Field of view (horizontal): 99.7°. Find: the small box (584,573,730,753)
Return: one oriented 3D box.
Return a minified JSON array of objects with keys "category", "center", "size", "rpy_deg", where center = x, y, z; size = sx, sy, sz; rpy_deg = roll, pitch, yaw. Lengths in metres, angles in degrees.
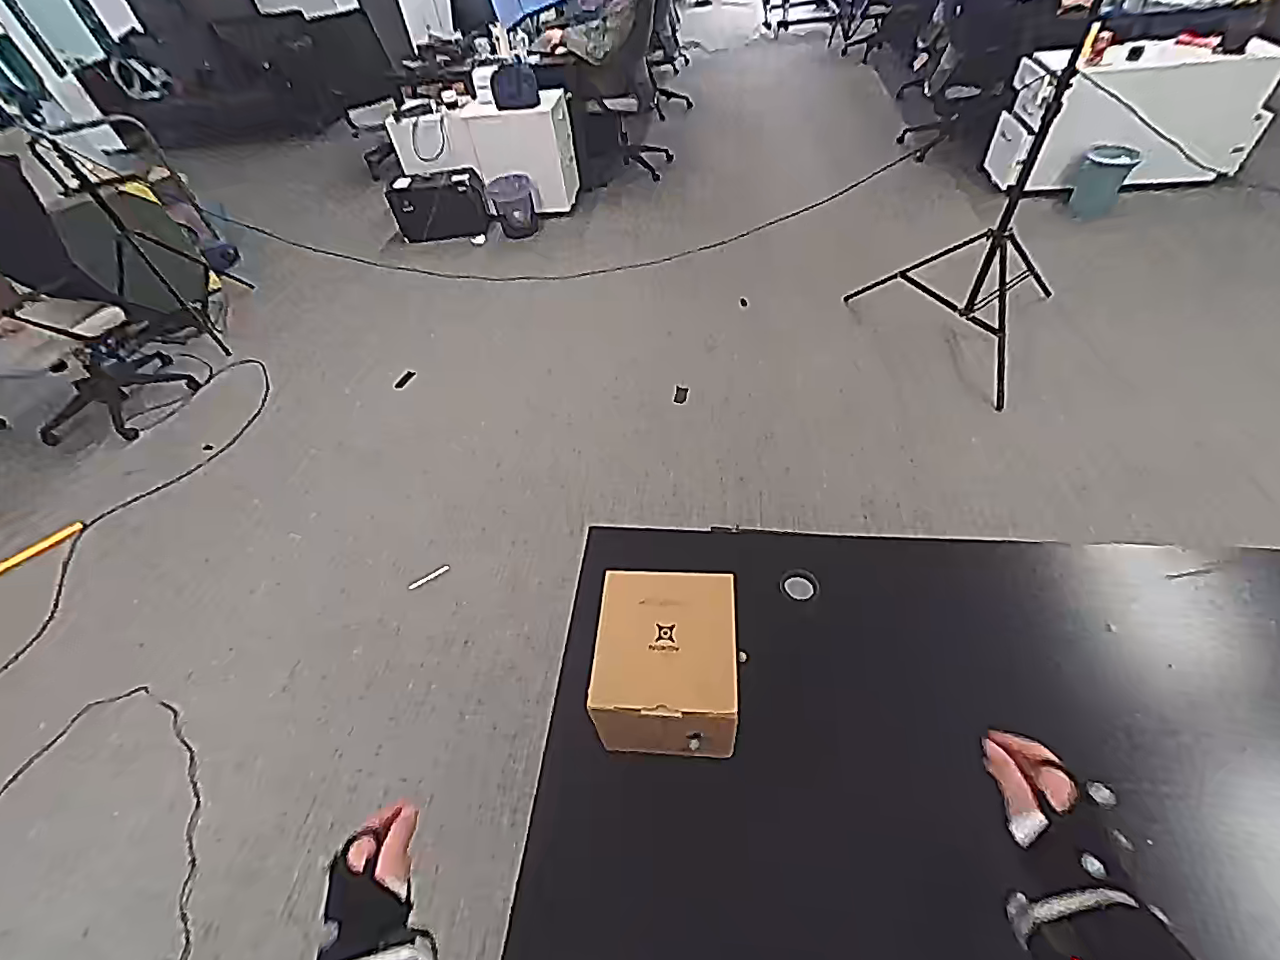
[{"category":"small box","center":[0.031,0.240,0.703],"size":[0.168,0.176,0.179],"rpy_deg":[1,49,5]}]
